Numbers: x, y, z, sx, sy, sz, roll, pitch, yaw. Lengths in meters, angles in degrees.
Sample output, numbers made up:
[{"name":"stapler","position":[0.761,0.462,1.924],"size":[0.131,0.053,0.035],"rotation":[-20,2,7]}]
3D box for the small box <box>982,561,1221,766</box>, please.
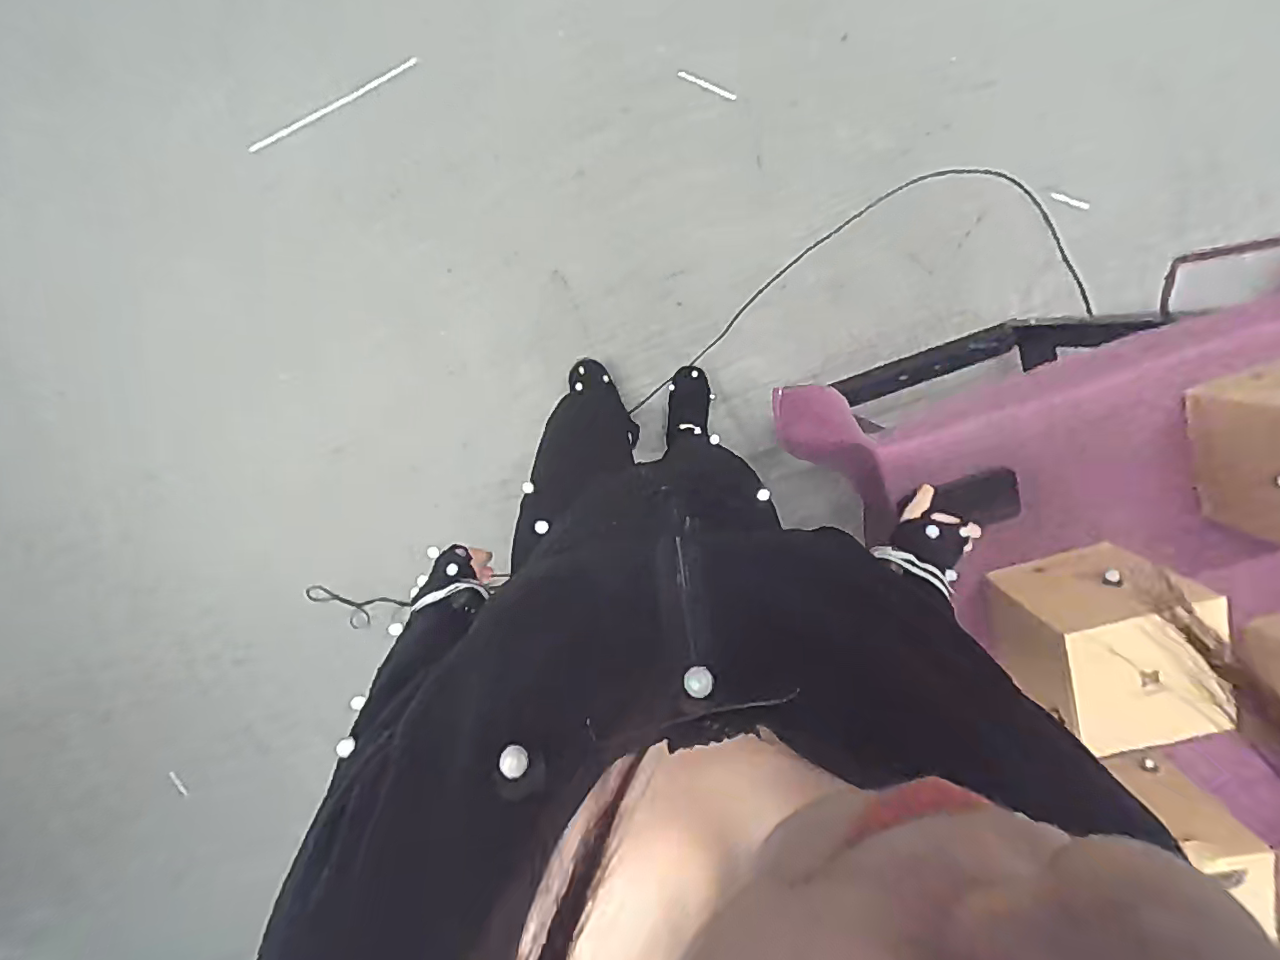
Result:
[{"name":"small box","position":[0.570,0.219,0.691],"size":[0.168,0.176,0.179],"rotation":[-16,104,8]}]
